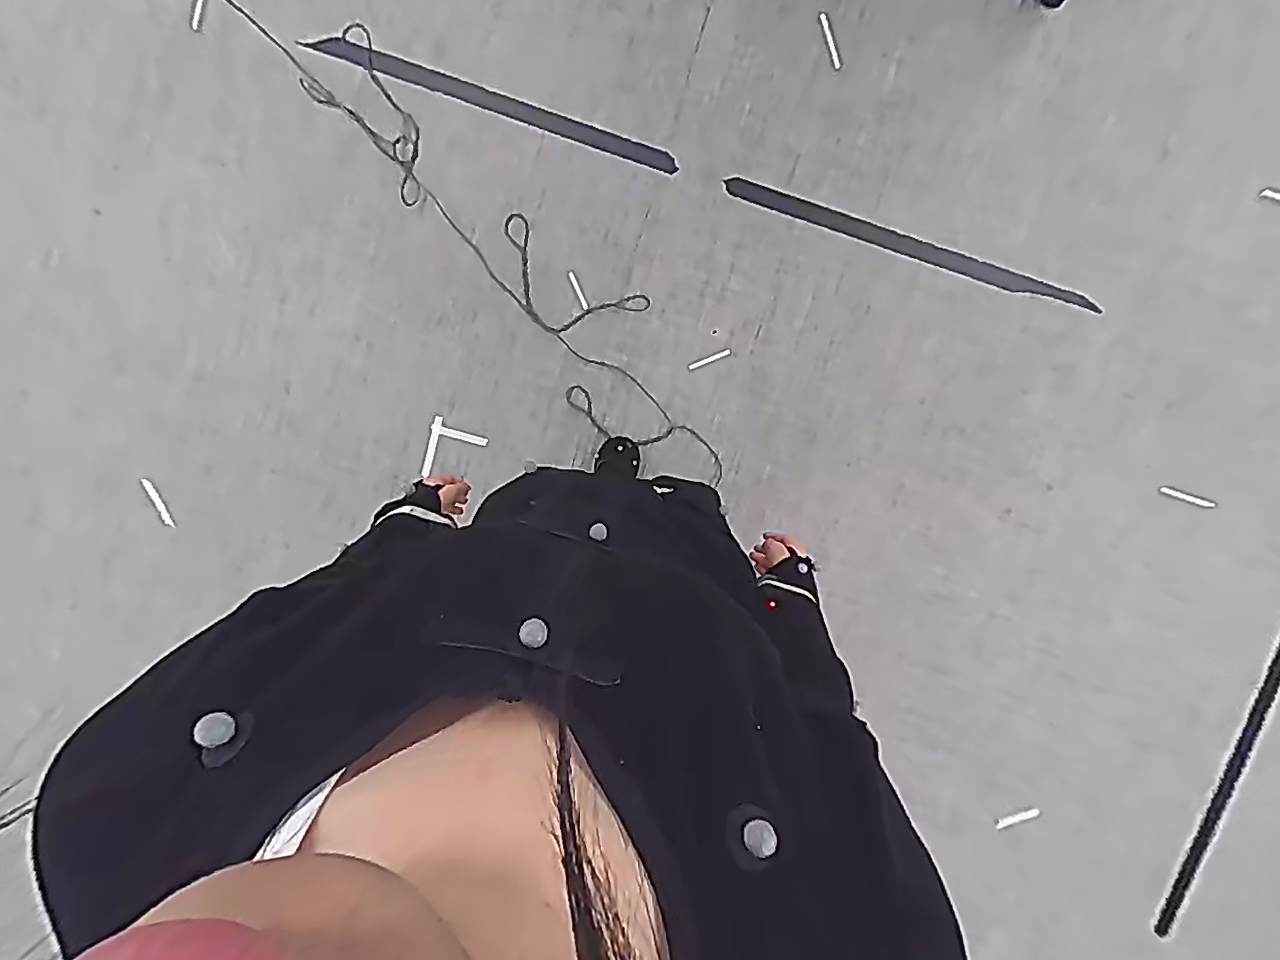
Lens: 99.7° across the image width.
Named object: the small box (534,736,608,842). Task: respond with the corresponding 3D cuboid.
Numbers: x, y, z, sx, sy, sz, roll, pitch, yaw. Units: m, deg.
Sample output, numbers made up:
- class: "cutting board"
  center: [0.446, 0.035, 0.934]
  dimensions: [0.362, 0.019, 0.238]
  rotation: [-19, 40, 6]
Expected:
- class: "small box"
  center: [-0.179, 0.828, 1.461]
  dimensions: [0.168, 0.176, 0.179]
  rotation: [8, 94, -1]
